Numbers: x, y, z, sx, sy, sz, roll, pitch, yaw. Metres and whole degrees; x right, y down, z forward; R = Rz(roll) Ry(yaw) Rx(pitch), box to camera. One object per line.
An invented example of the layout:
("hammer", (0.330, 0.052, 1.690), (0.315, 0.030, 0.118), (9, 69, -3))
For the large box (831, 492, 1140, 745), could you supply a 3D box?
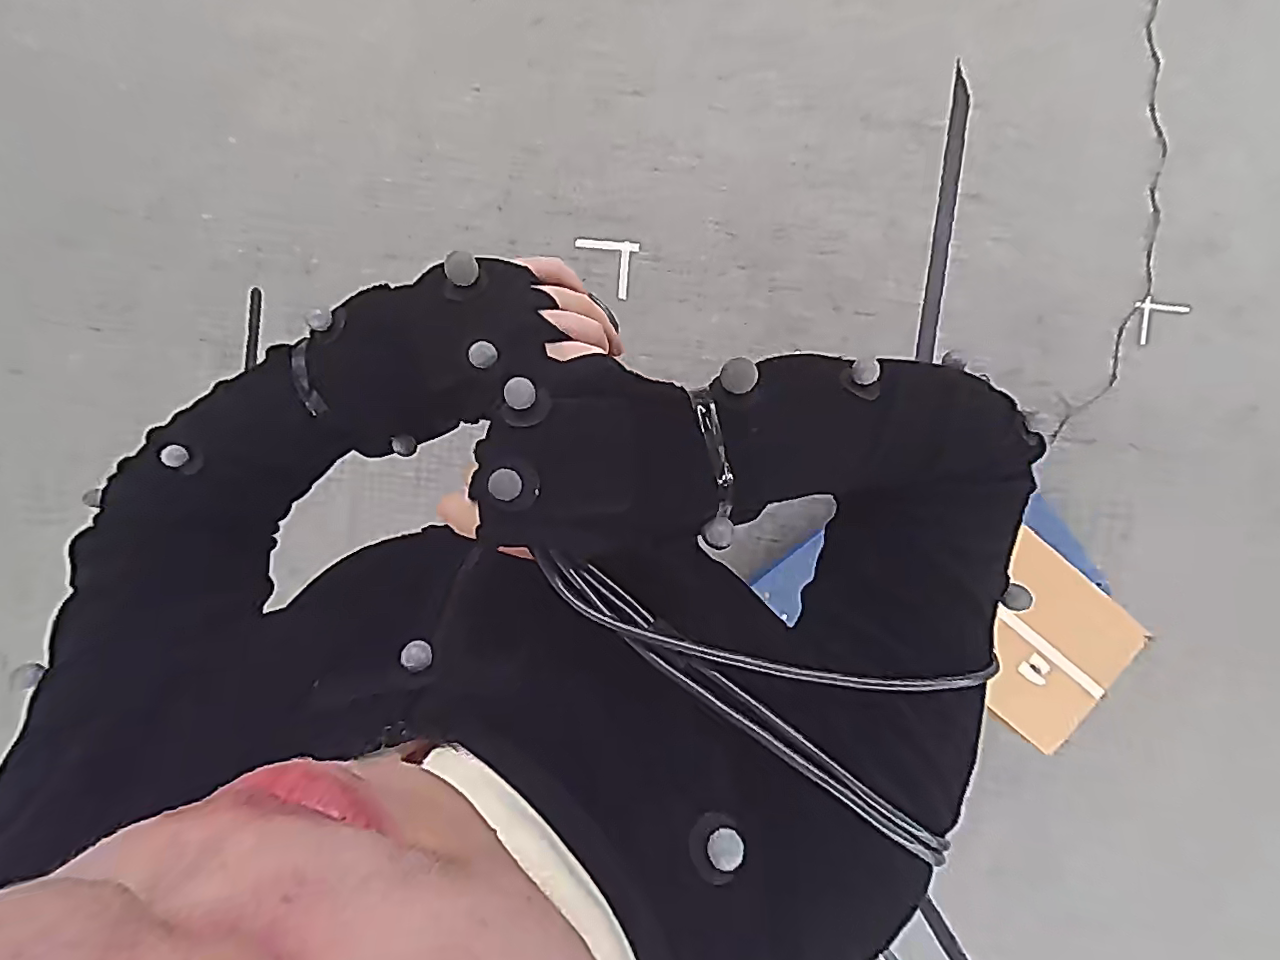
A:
("large box", (0.713, 0.269, 1.183), (0.408, 0.320, 0.320), (40, 91, -2))
